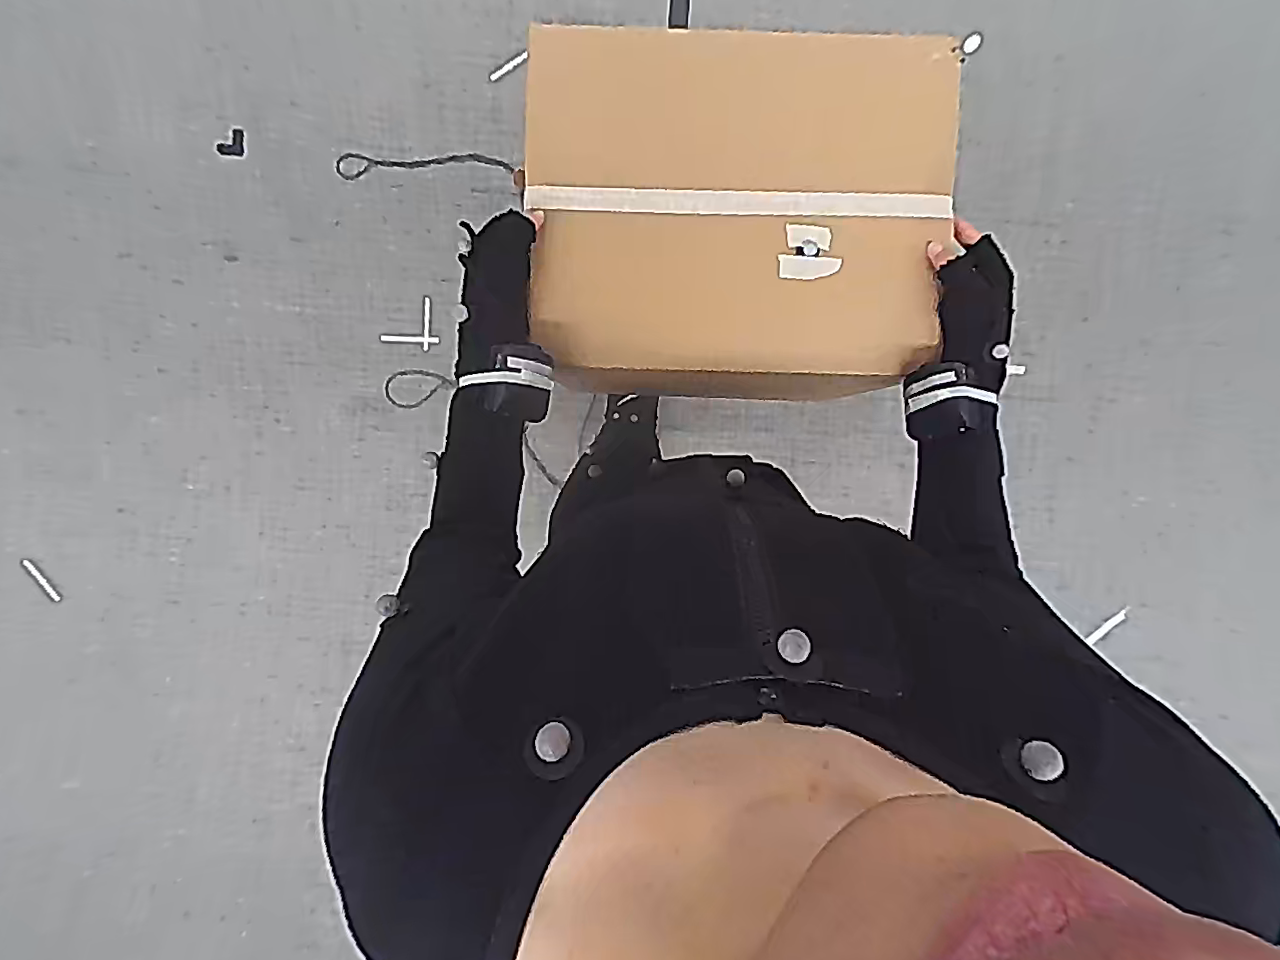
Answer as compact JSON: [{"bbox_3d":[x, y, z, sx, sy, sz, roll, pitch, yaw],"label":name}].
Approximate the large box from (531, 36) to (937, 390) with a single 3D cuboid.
[{"bbox_3d":[0.089,-0.285,0.683,0.408,0.320,0.320,1,95,0],"label":"large box"}]
